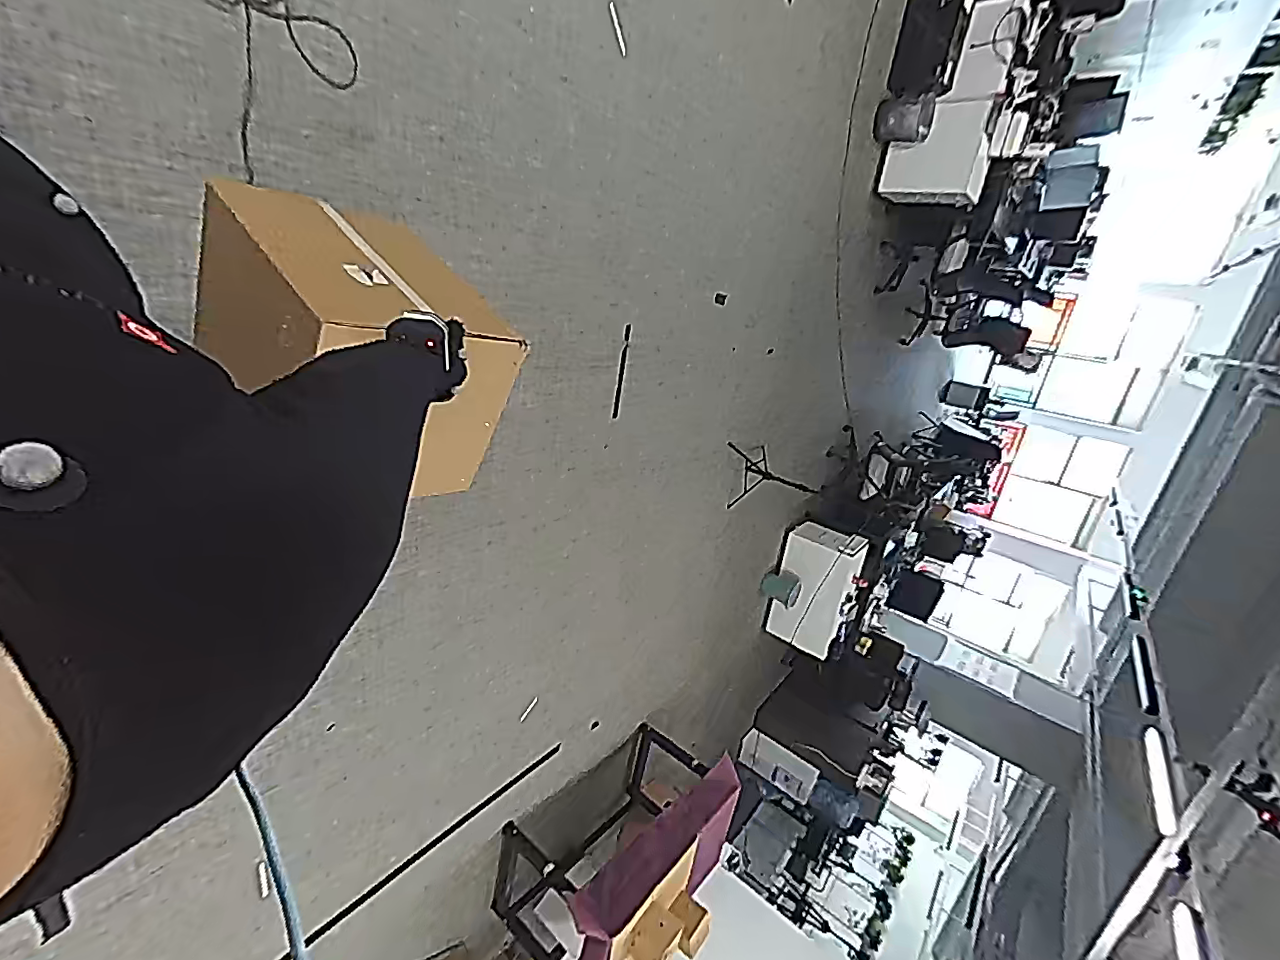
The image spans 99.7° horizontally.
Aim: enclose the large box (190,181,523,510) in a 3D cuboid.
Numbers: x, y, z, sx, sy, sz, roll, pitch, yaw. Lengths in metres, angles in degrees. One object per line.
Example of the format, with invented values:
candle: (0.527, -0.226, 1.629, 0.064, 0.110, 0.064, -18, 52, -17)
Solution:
large box: (-0.479, -0.212, 0.898, 0.320, 0.408, 0.320, -12, 141, -53)
